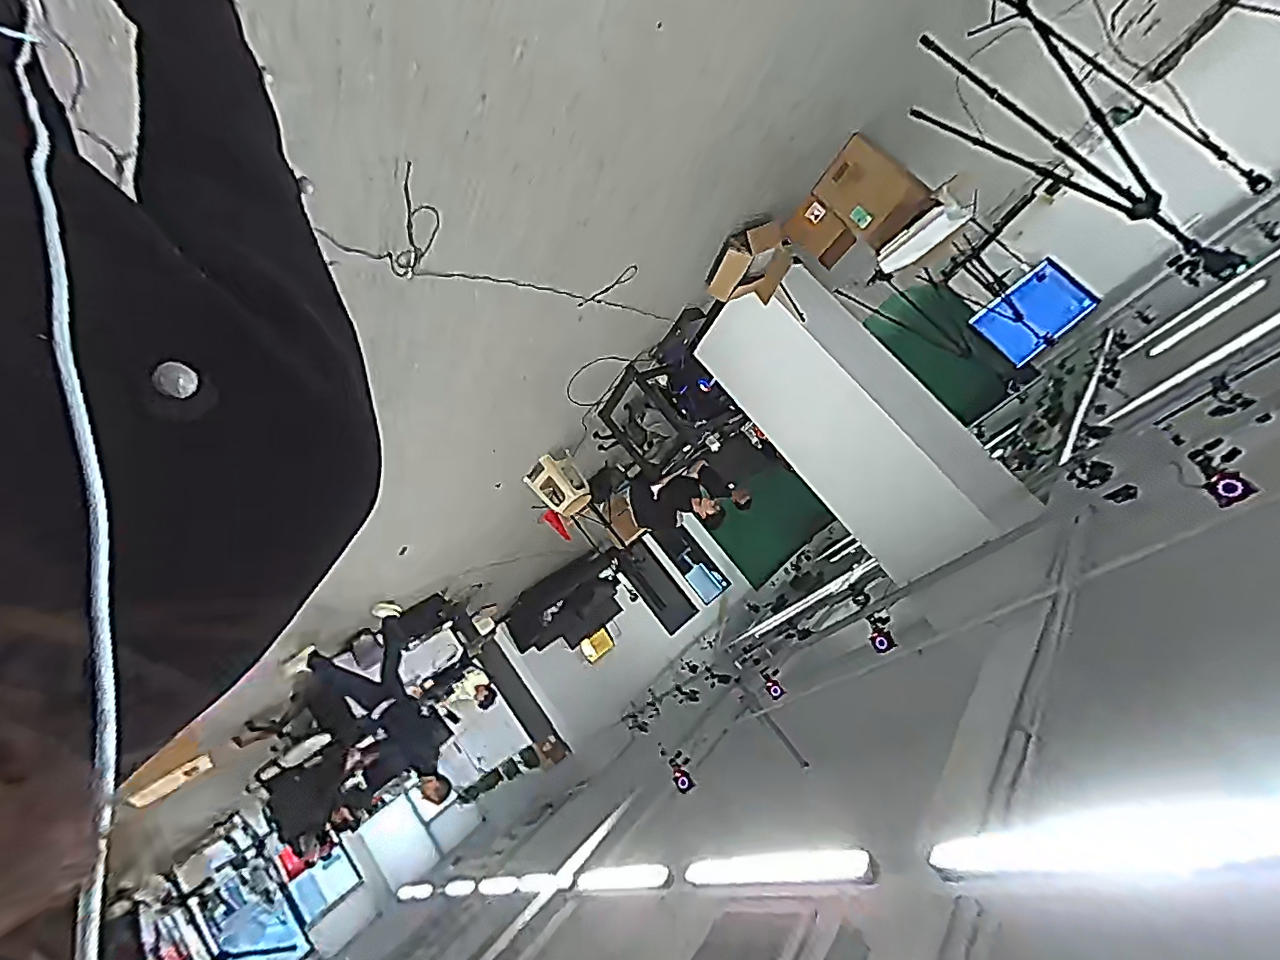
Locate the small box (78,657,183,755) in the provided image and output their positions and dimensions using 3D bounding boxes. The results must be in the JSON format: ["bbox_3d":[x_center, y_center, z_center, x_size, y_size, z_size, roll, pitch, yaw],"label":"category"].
[{"bbox_3d":[-1.449,0.639,1.538,0.179,0.176,0.168,-27,163,-45],"label":"small box"}]
